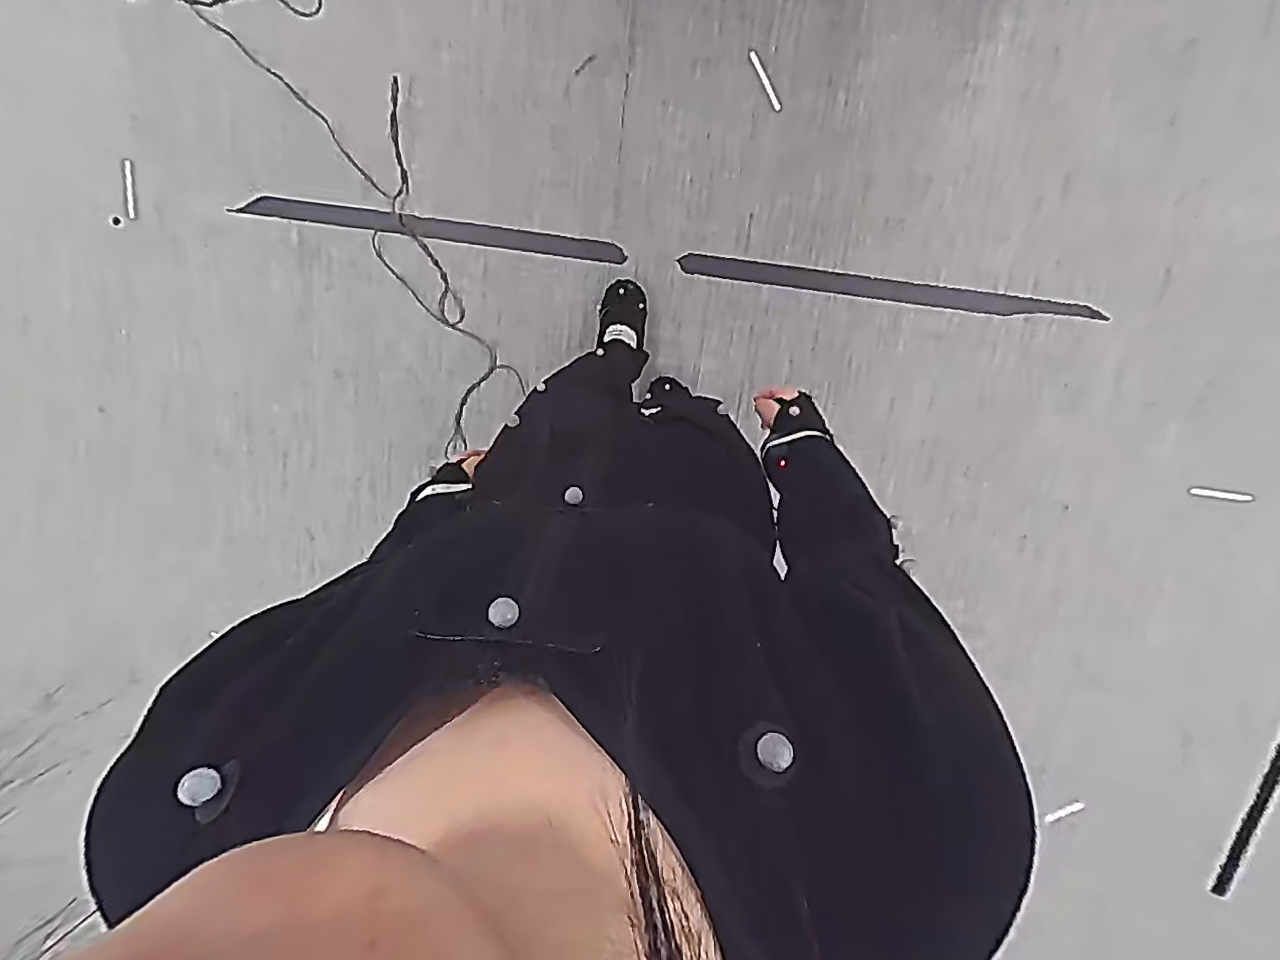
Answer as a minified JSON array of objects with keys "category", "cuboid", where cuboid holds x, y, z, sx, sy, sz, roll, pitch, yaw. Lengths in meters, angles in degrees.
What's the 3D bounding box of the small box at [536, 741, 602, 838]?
[{"category":"small box","cuboid":[-0.201,0.896,1.572,0.168,0.176,0.179,2,103,2]}]
